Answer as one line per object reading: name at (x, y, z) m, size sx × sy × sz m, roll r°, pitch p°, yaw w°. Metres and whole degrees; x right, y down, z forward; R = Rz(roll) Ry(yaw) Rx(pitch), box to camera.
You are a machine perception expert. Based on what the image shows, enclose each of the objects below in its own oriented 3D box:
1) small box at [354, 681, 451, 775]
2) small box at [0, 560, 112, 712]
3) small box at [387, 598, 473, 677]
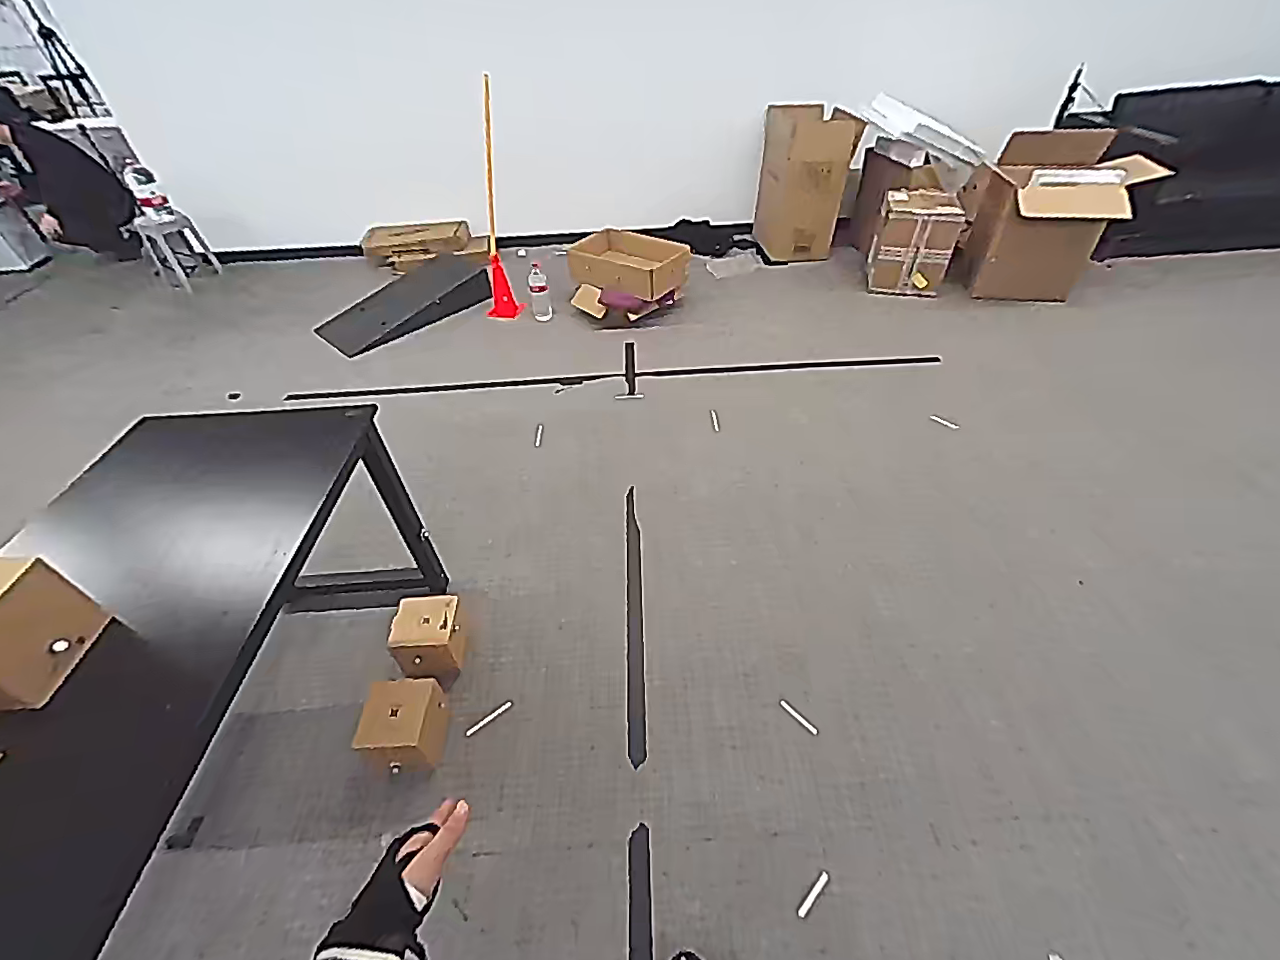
small box at (-0.617, 0.656, 1.431) m, size 0.168 × 0.176 × 0.179 m, roll -4°, pitch 44°, yaw 0°
small box at (-0.997, 0.242, 0.827) m, size 0.179 × 0.176 × 0.168 m, roll -3°, pitch 43°, yaw 0°
small box at (-0.621, 0.476, 1.623) m, size 0.179 × 0.176 × 0.168 m, roll -4°, pitch 44°, yaw 0°
